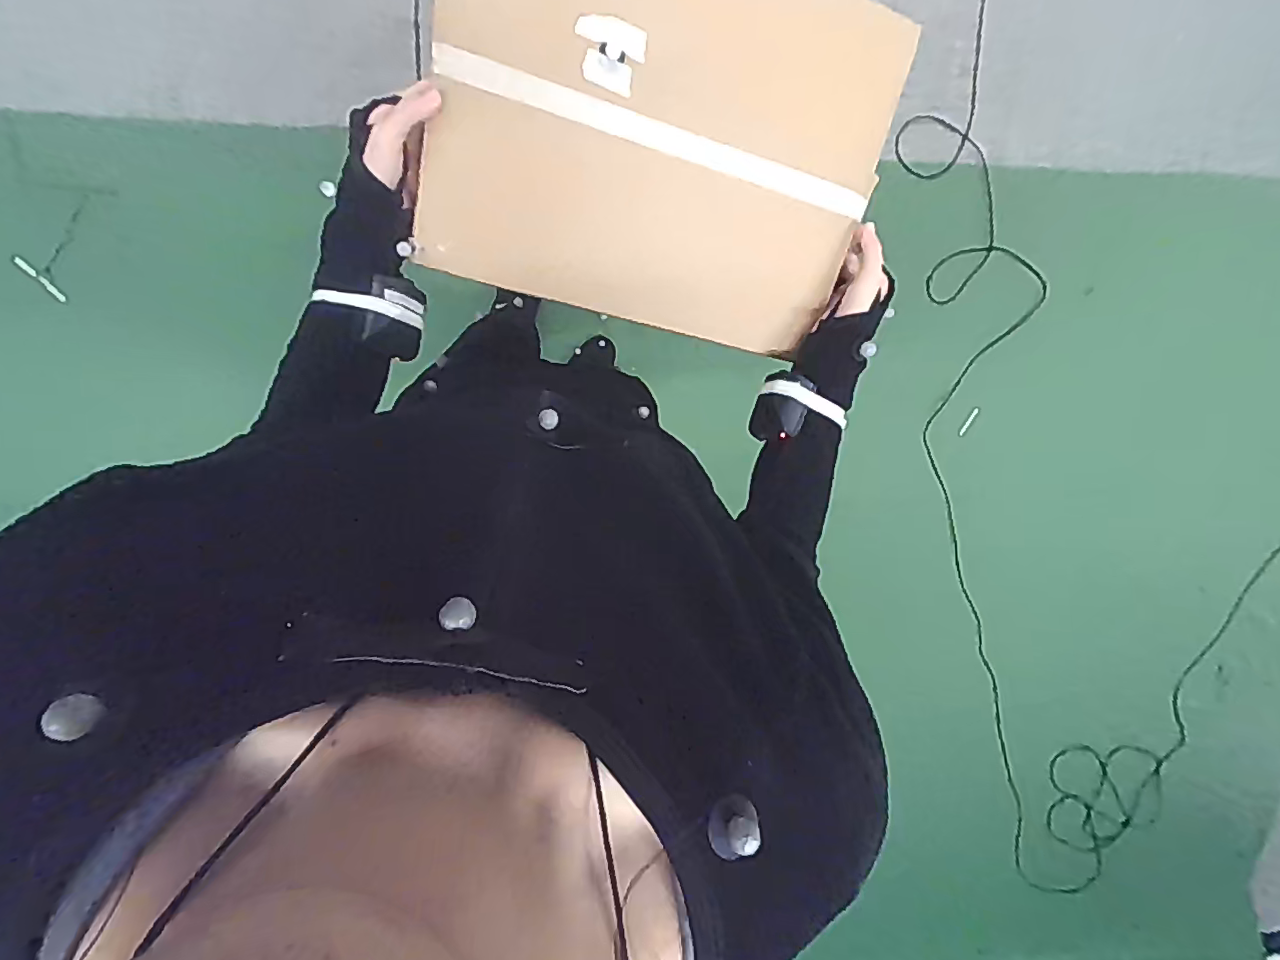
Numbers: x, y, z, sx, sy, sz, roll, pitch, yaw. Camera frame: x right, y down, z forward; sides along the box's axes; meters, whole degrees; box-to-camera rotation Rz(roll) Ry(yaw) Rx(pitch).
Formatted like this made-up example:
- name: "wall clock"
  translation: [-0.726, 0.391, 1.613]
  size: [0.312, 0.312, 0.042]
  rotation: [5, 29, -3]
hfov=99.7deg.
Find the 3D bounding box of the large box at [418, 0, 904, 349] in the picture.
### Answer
- name: "large box"
  translation: [-0.006, -0.369, 0.630]
  size: [0.408, 0.320, 0.320]
  rotation: [10, 110, -15]
